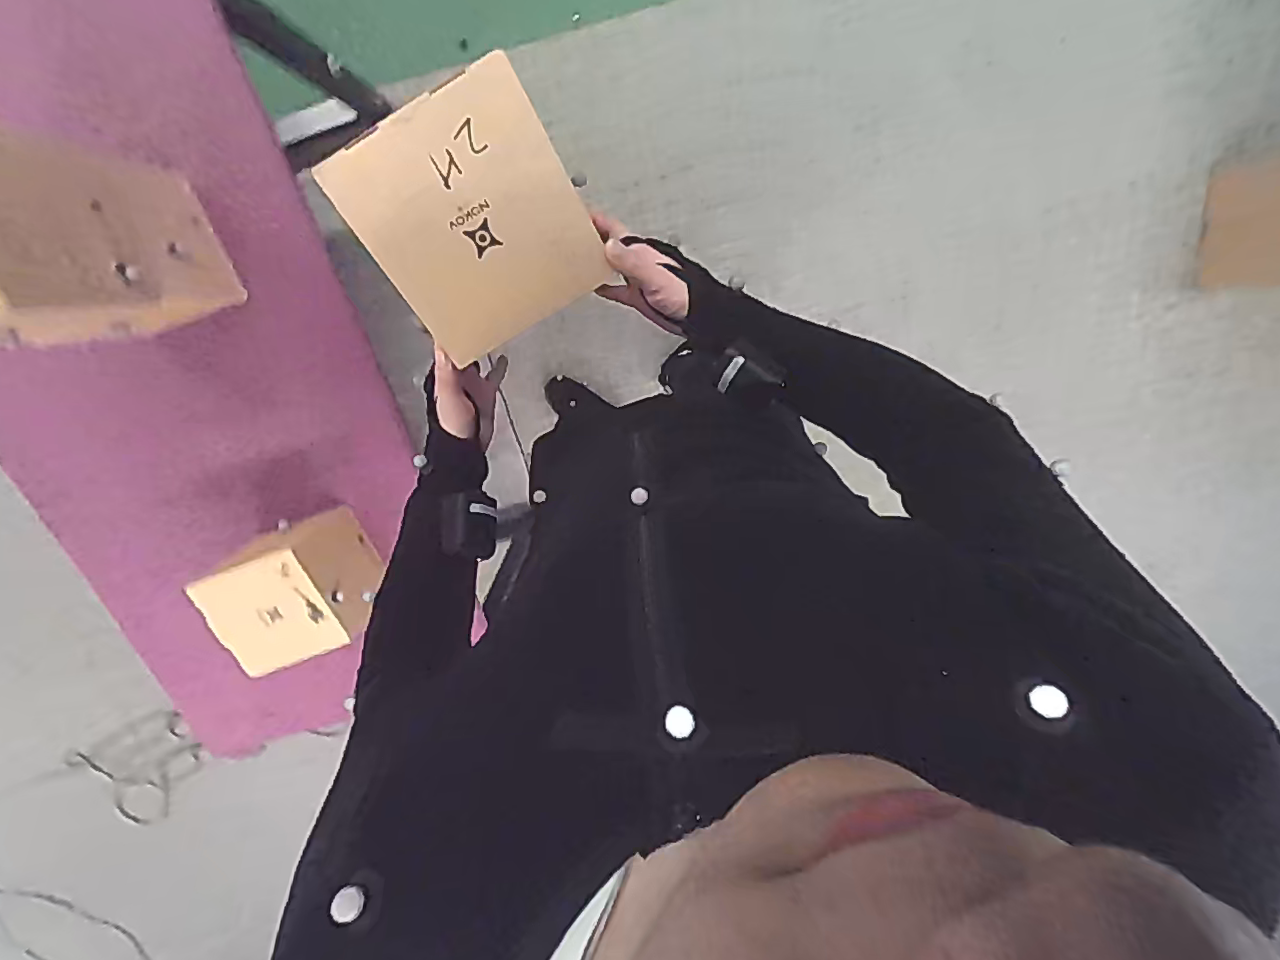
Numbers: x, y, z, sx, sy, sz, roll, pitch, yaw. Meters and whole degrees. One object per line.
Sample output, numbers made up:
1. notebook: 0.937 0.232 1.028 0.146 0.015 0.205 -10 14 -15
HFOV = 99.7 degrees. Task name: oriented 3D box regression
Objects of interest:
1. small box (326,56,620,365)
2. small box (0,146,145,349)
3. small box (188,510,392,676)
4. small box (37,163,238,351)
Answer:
1. small box: -0.136 -0.240 0.499 0.168 0.176 0.179 -28 120 4
2. small box: -0.662 -0.227 0.541 0.179 0.176 0.168 -13 109 6
3. small box: -0.535 0.171 0.856 0.179 0.176 0.168 -20 109 7
4. small box: -0.671 -0.281 0.697 0.179 0.176 0.168 -16 109 7
